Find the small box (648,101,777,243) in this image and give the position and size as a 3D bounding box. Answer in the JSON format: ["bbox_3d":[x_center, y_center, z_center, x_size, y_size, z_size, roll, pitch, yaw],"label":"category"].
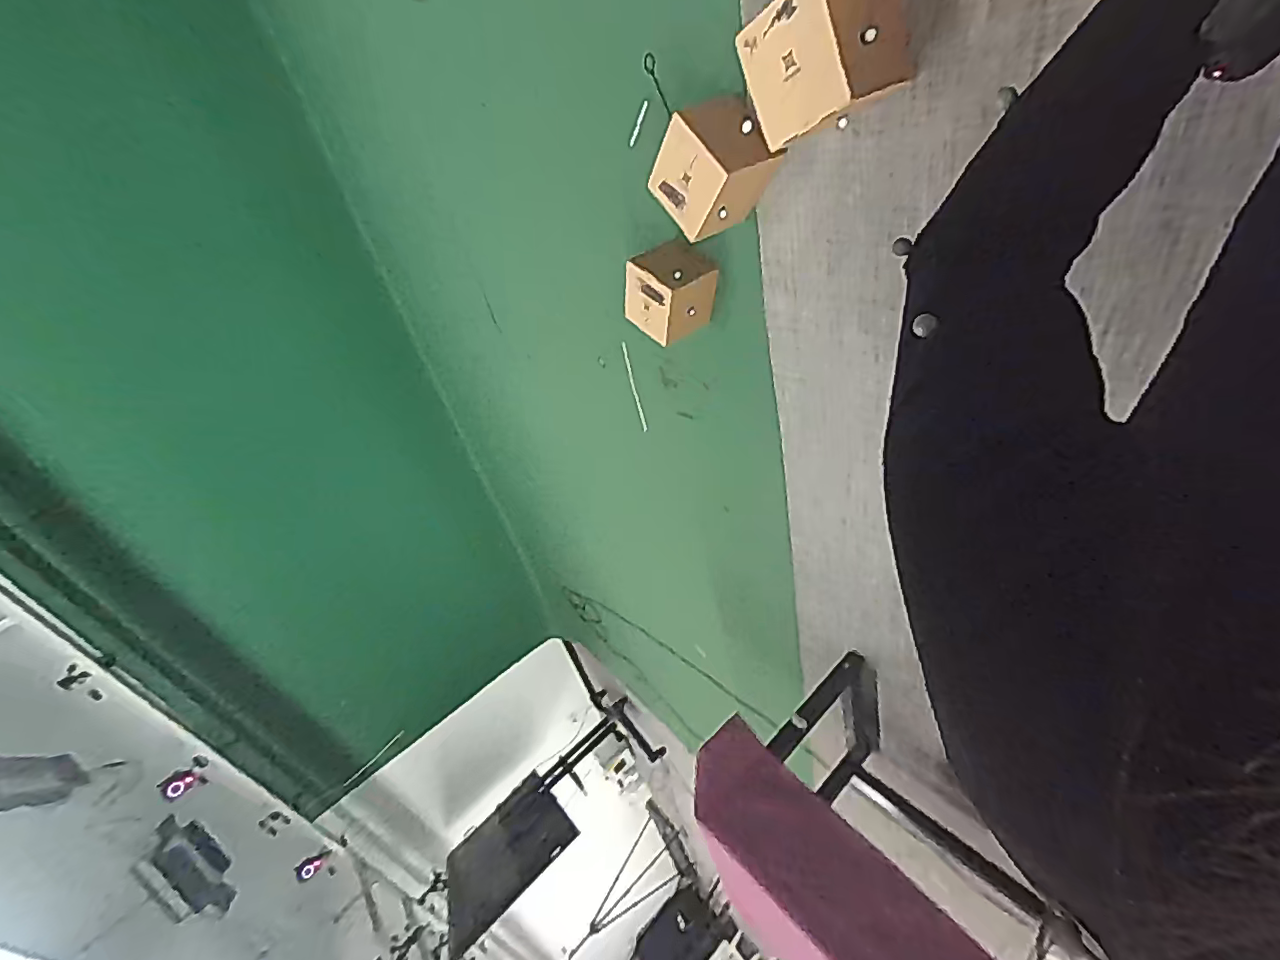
[{"bbox_3d":[0.149,-0.634,1.117,0.168,0.176,0.179,54,154,6],"label":"small box"}]

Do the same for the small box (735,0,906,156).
[{"bbox_3d":[0.287,-0.656,0.852,0.168,0.176,0.179,7,127,58],"label":"small box"}]
